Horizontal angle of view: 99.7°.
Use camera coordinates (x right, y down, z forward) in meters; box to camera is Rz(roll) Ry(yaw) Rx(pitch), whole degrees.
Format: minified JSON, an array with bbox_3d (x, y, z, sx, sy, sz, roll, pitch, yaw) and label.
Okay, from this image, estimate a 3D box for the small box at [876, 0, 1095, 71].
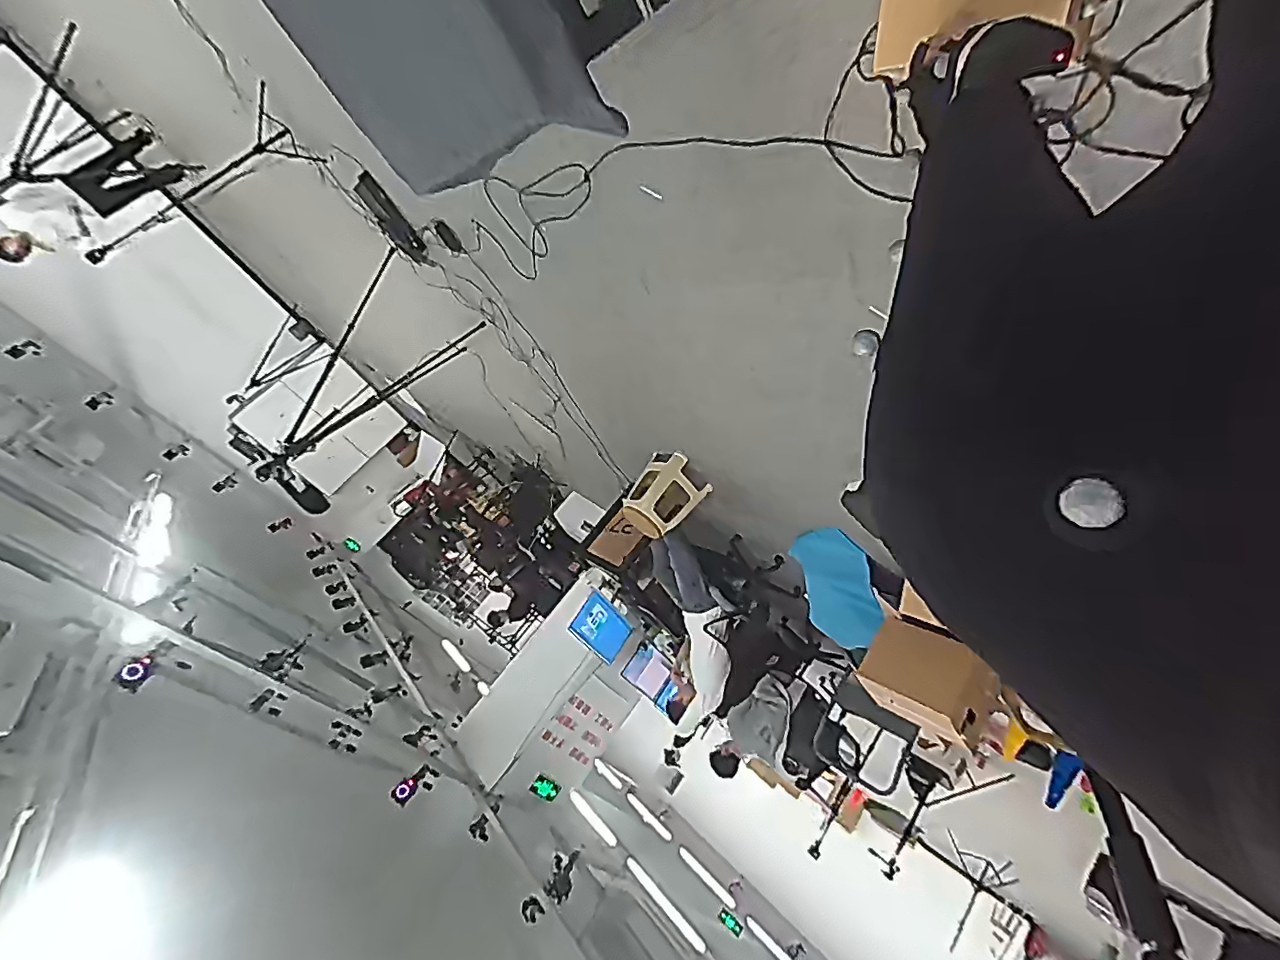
[{"bbox_3d":[0.360,-0.519,0.534,0.168,0.179,0.176,22,130,34],"label":"small box"}]
